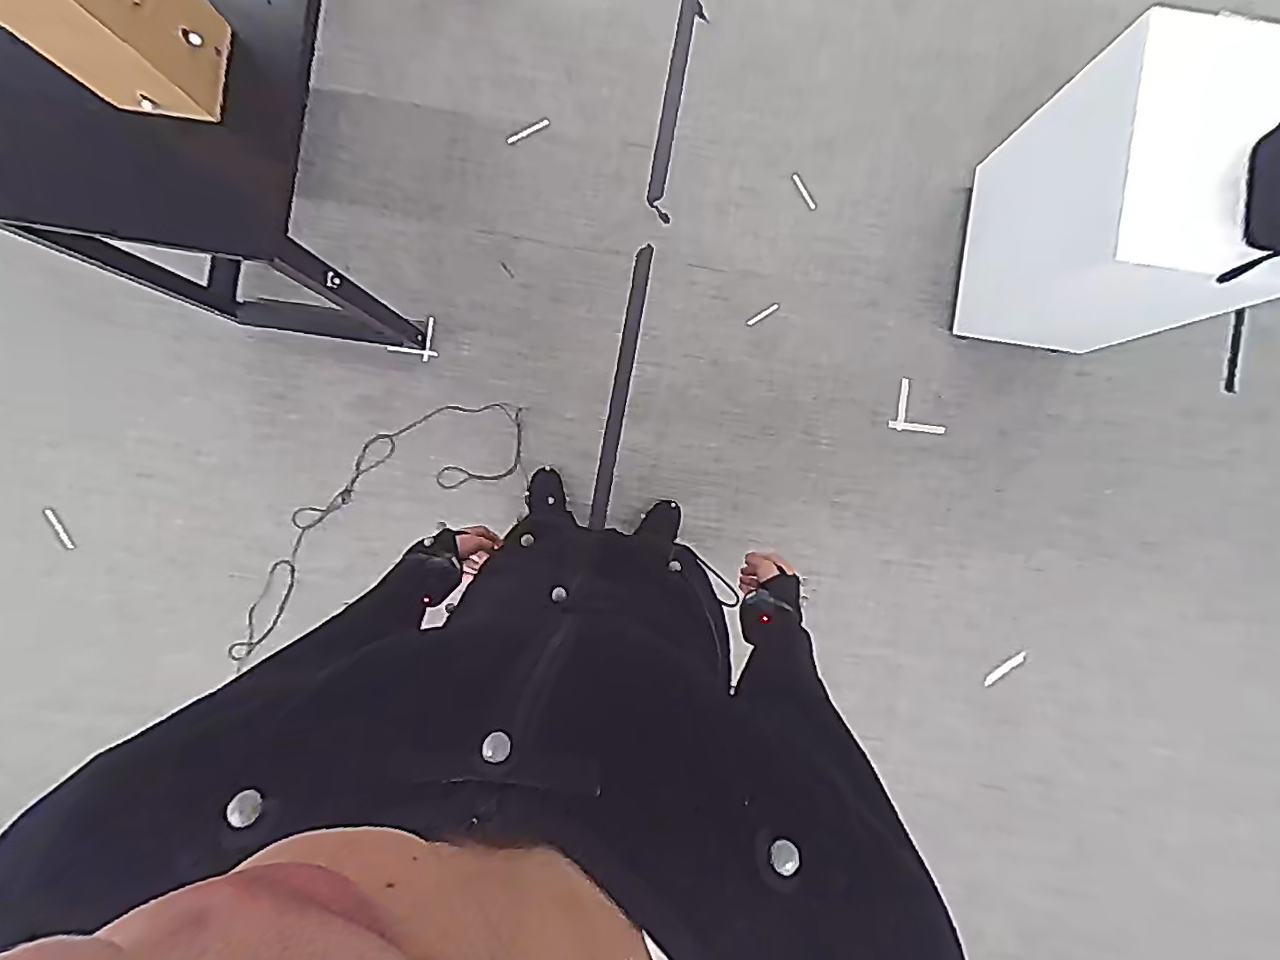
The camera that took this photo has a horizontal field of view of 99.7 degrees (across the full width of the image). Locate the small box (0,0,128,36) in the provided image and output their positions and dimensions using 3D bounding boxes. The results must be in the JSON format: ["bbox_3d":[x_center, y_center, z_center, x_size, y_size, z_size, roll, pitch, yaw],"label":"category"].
[{"bbox_3d":[-0.779,-0.691,0.657,0.179,0.176,0.168,8,90,-1],"label":"small box"}]

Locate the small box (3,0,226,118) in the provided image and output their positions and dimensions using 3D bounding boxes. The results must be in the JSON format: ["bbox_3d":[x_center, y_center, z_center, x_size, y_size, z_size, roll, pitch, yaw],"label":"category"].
[{"bbox_3d":[-0.779,-0.691,0.822,0.179,0.176,0.168,7,90,-1],"label":"small box"}]
